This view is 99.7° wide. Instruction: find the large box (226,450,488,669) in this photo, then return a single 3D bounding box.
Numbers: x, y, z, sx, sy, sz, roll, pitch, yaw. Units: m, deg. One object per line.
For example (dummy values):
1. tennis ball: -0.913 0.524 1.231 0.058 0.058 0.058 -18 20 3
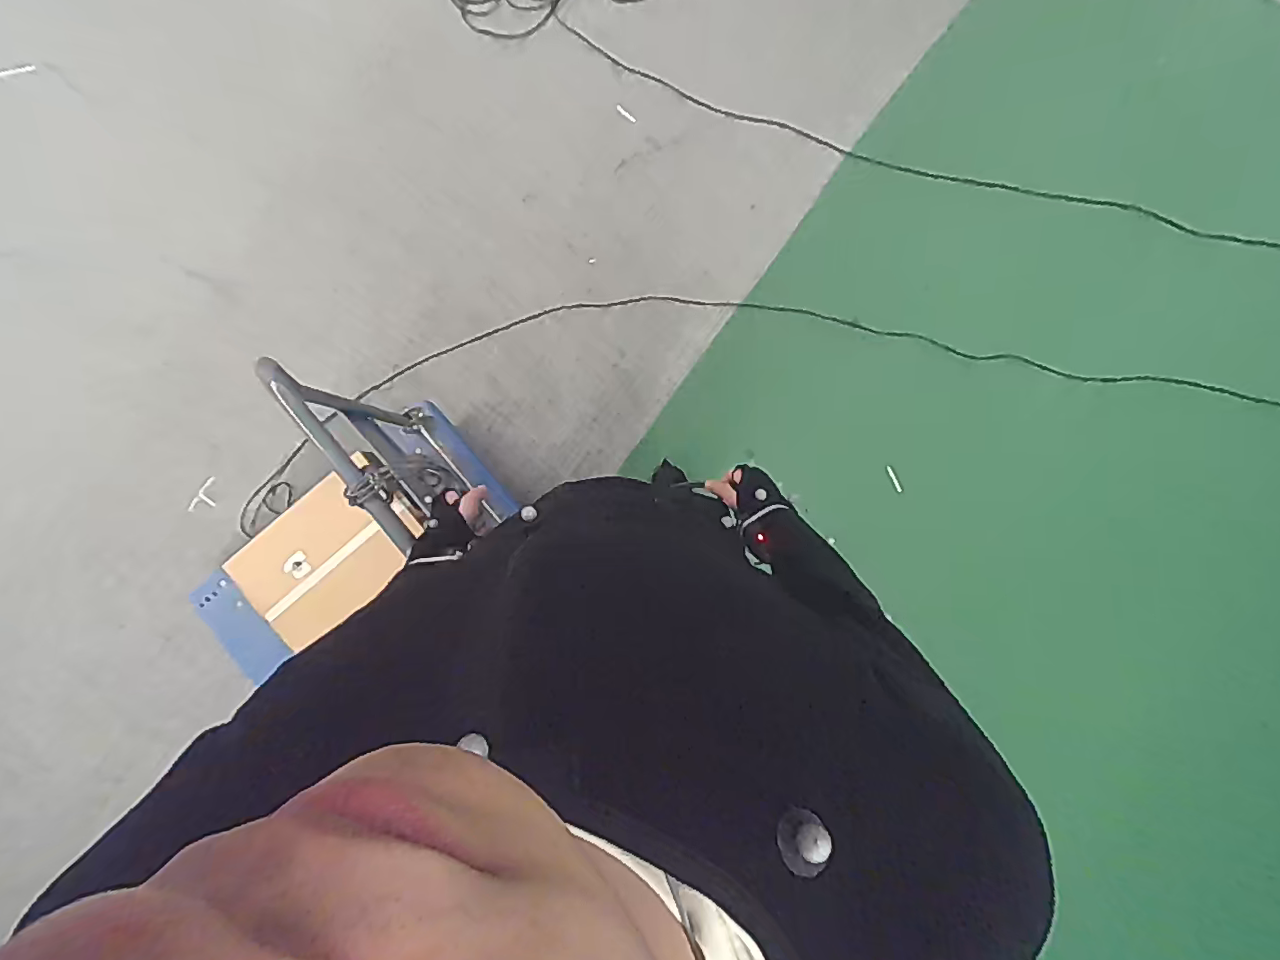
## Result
1. large box: -0.654 0.166 1.318 0.408 0.320 0.320 -39 90 3
